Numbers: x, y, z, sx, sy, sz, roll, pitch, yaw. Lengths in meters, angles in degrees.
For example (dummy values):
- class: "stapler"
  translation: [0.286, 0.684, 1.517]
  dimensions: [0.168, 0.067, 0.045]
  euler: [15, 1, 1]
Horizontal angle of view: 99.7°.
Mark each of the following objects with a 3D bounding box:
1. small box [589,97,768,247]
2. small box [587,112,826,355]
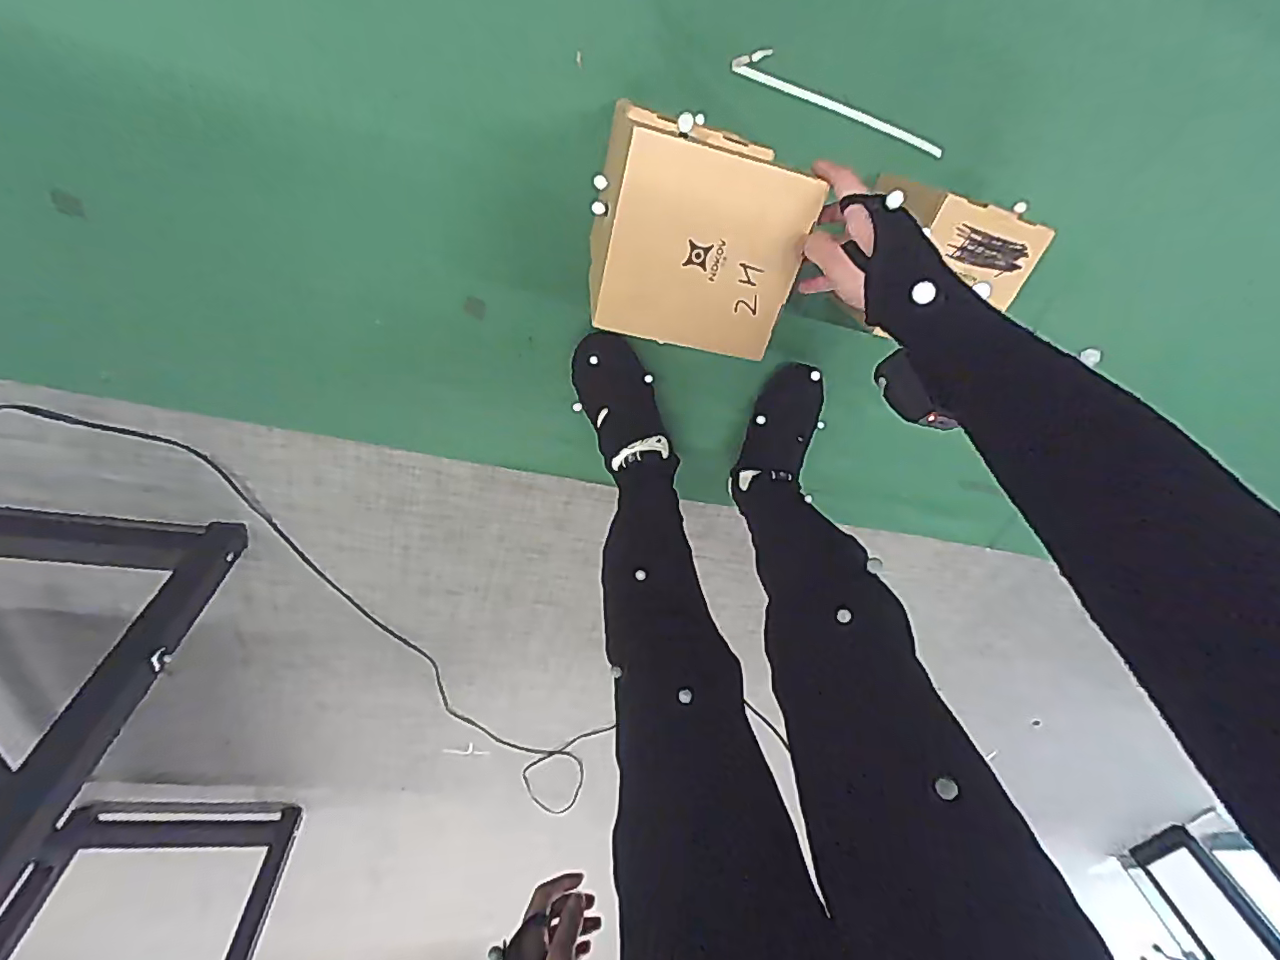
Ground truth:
- class: "small box"
  translation: [0.033, -0.349, 0.671]
  dimensions: [0.168, 0.176, 0.179]
  euler: [9, 124, -13]
- class: "small box"
  translation: [0.046, -0.249, 0.542]
  dimensions: [0.179, 0.176, 0.168]
  euler: [9, 124, -13]
